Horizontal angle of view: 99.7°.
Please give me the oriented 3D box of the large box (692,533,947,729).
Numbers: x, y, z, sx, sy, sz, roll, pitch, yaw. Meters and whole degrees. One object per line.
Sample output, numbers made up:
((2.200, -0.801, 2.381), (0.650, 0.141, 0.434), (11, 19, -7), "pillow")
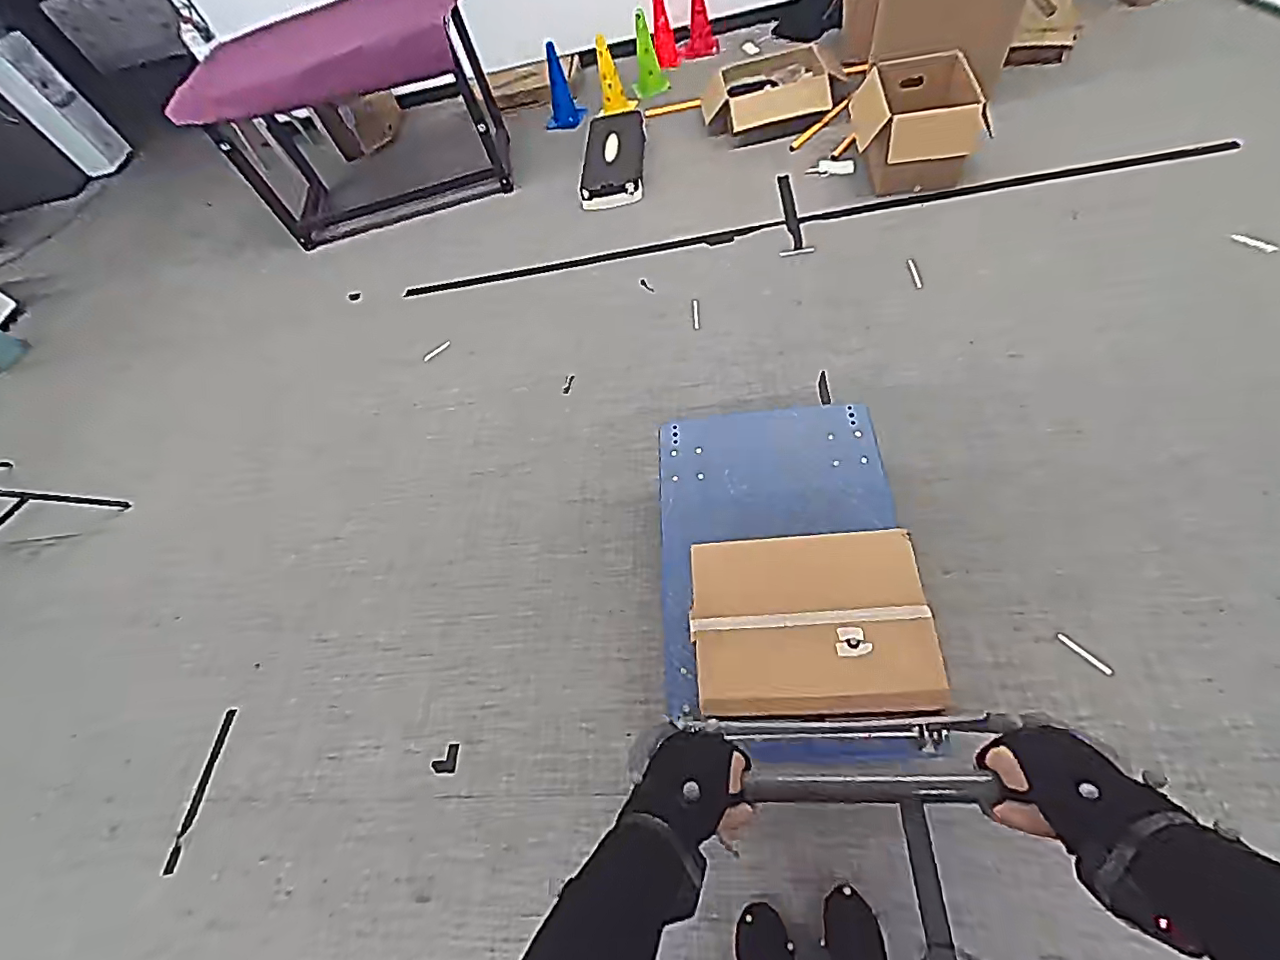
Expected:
((0.327, 0.323, 1.103), (0.408, 0.320, 0.320), (-6, 62, 8), "large box")
